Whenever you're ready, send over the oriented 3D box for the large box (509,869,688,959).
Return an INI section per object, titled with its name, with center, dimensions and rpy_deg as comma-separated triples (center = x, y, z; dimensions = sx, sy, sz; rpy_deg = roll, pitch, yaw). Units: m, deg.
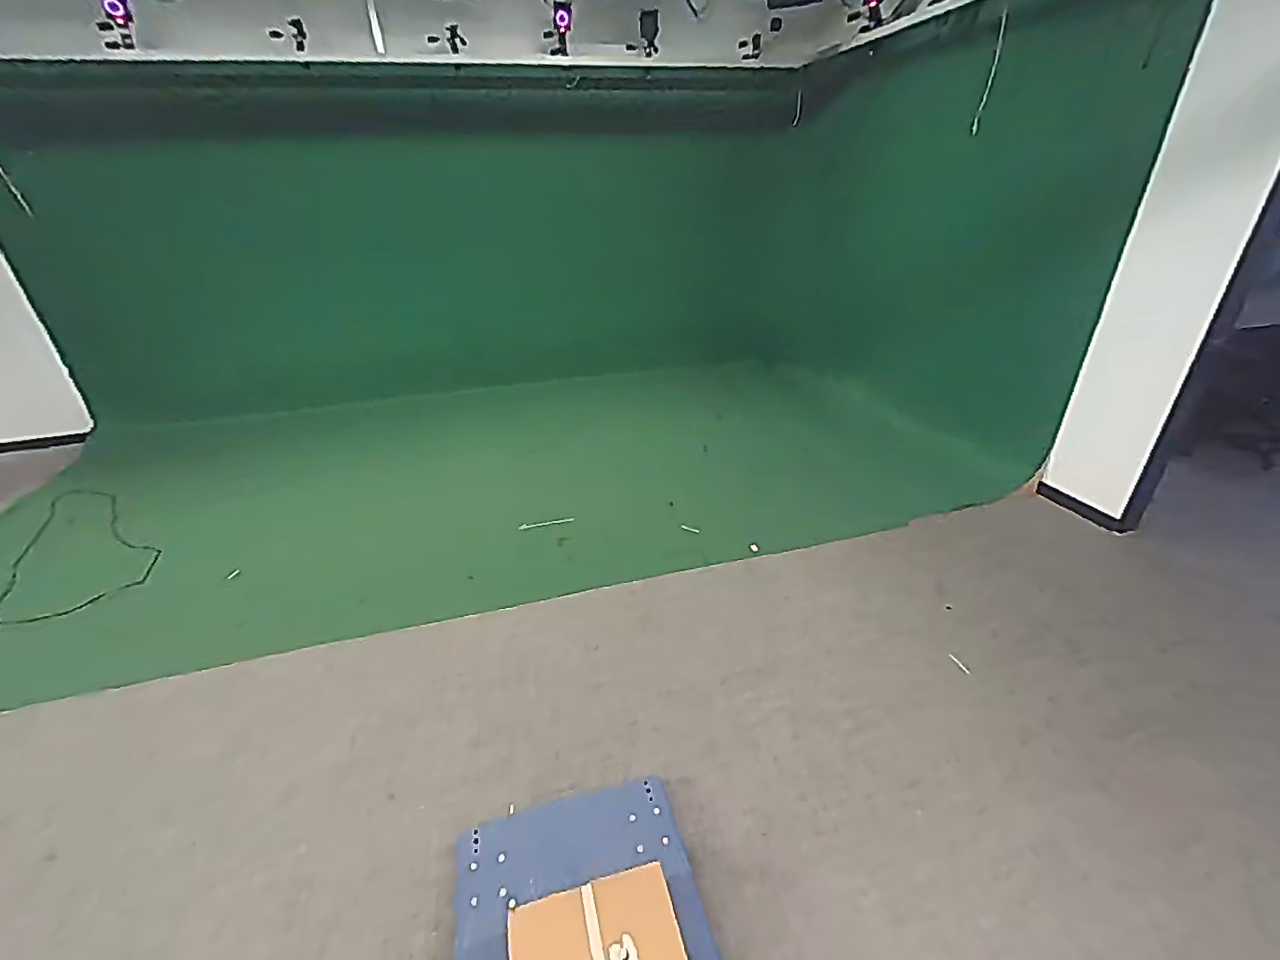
[large box]
center = -0.044, 1.039, 0.974
dimensions = 0.320, 0.320, 0.408
rpy_deg = -9, 28, -14
